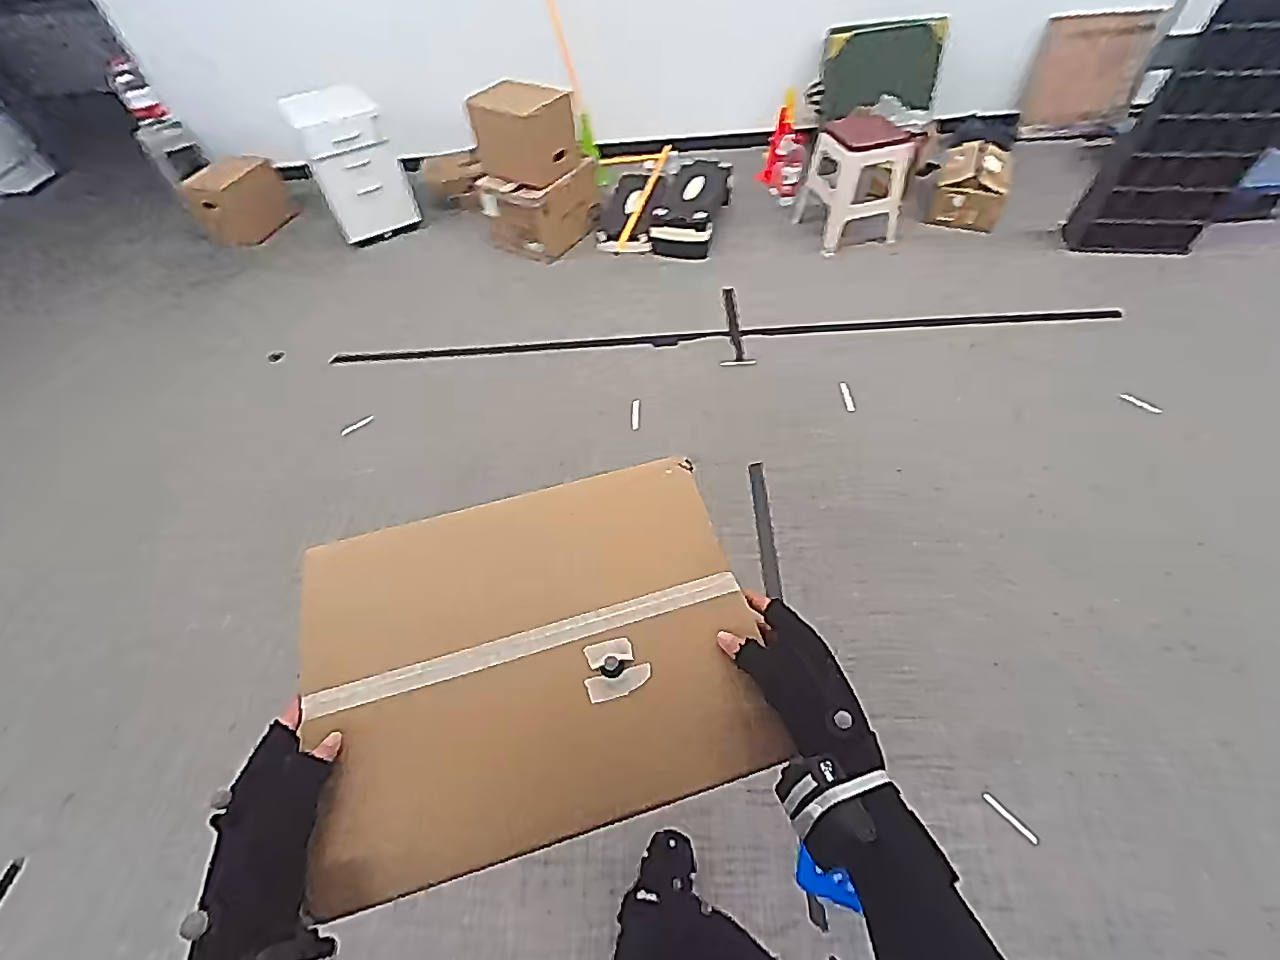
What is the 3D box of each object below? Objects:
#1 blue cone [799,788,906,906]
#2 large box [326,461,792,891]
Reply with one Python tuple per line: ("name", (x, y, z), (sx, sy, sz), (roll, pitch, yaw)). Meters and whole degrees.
("blue cone", (0.448, 0.706, 1.068), (0.193, 0.380, 0.192), (15, 54, 15))
("large box", (-0.094, 0.227, 0.647), (0.408, 0.320, 0.320), (-13, 60, -8))
